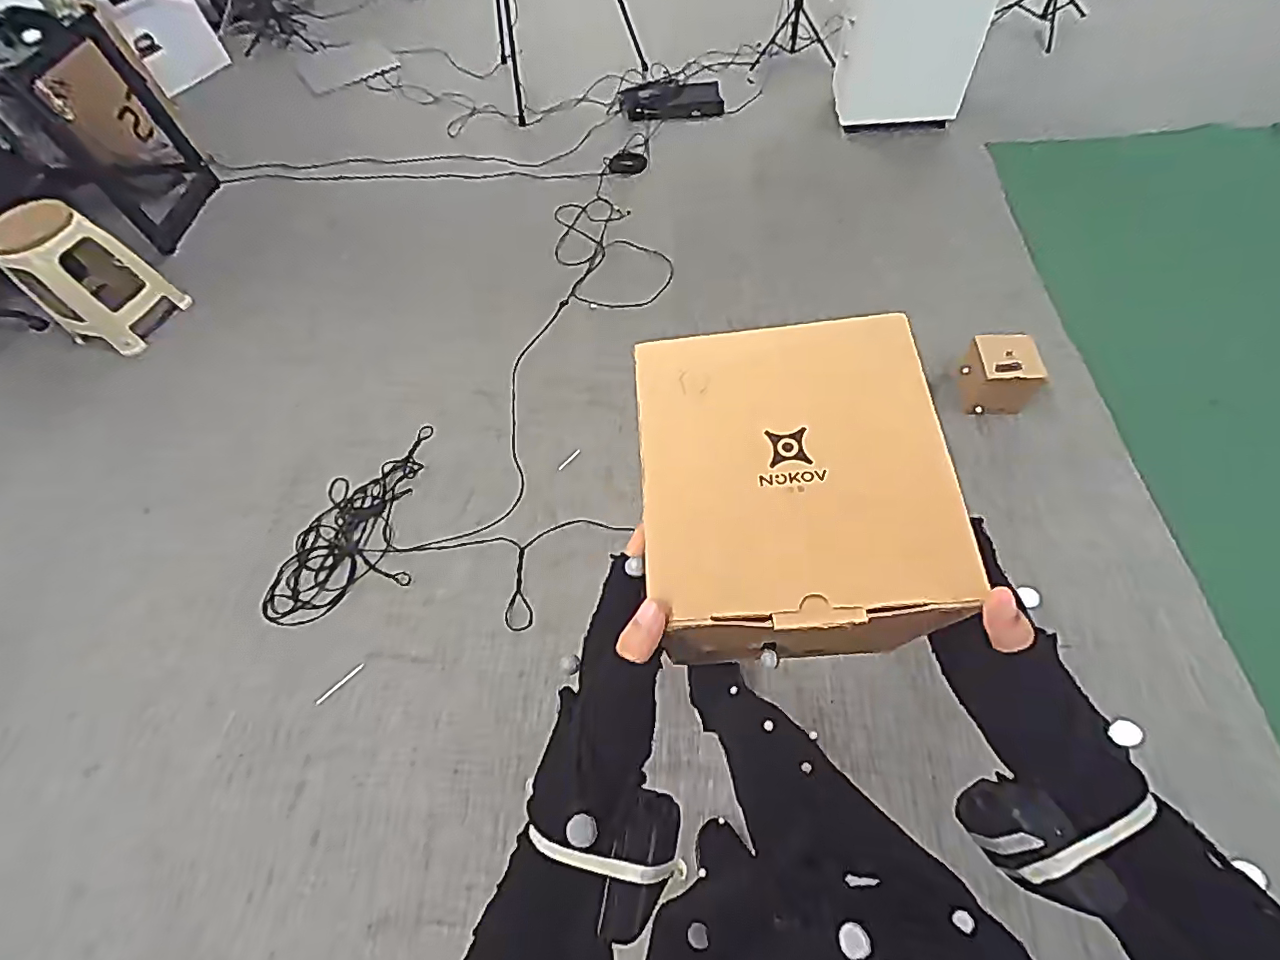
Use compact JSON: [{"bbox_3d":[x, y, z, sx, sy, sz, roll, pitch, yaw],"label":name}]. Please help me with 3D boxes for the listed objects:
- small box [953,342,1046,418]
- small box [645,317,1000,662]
[{"bbox_3d":[1.100,-0.304,1.668,0.168,0.176,0.179,1,58,6],"label":"small box"},{"bbox_3d":[0.094,0.019,0.368,0.168,0.176,0.179,-6,65,5],"label":"small box"}]
